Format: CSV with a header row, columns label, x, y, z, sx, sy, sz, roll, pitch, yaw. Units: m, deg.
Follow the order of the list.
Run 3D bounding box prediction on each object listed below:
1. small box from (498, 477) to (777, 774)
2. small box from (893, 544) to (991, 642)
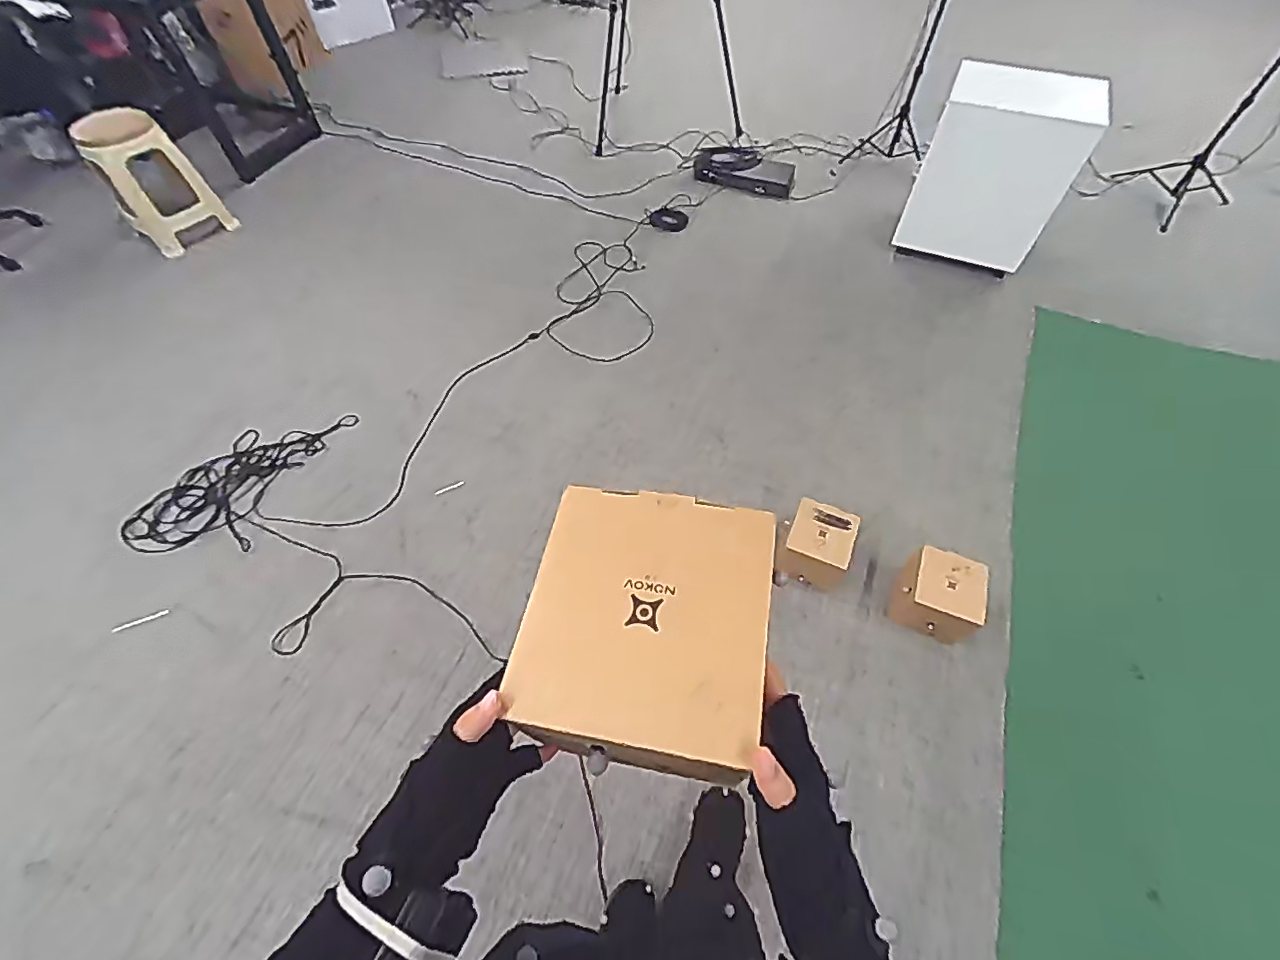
label,x,y,z,sx,sy,sz,roll,pitch,yaw
small box,0.012,0.122,0.434,0.168,0.176,0.179,7,58,9
small box,0.790,0.303,1.427,0.168,0.176,0.179,20,59,13
